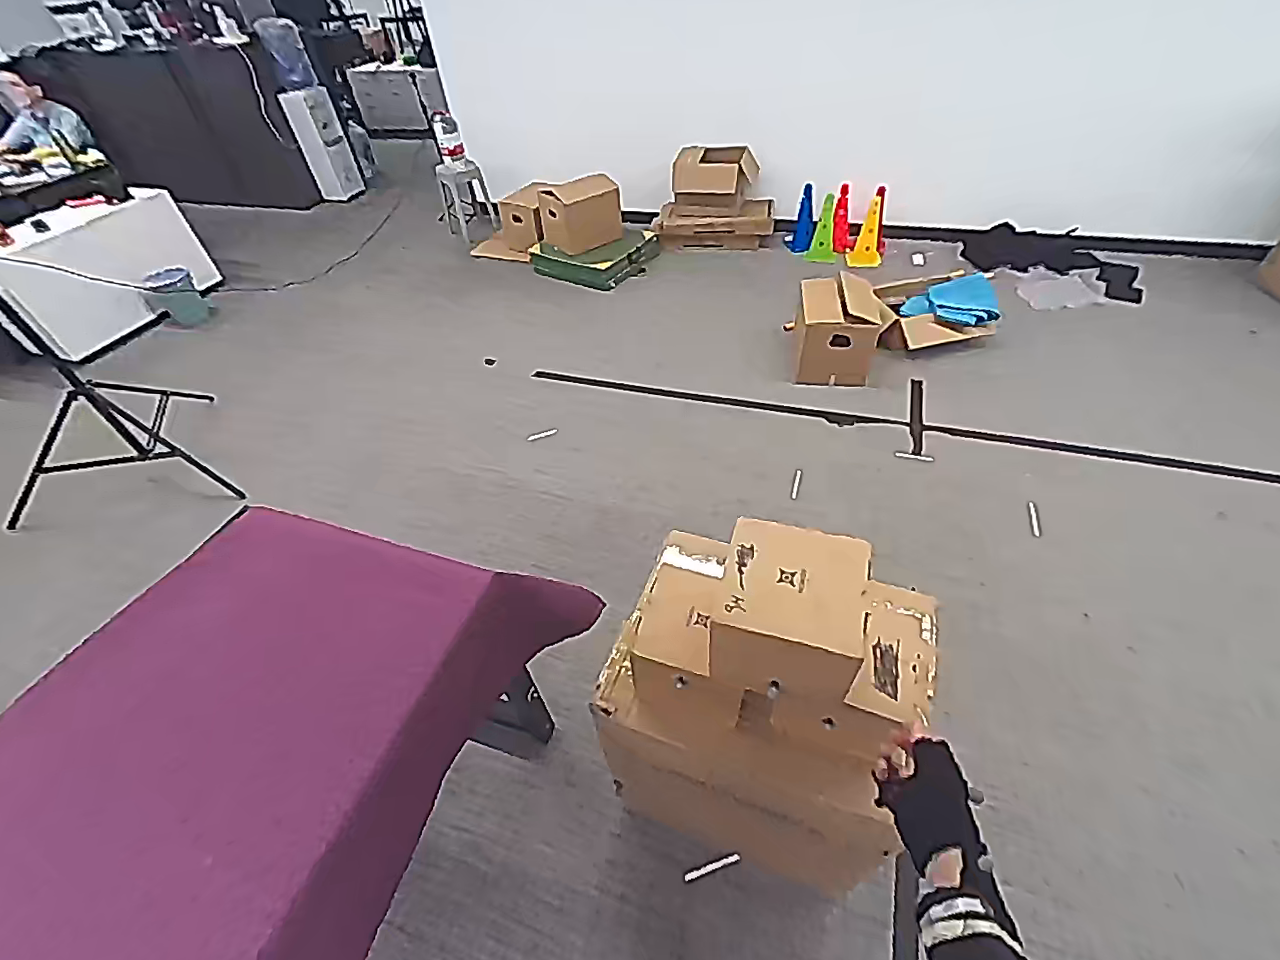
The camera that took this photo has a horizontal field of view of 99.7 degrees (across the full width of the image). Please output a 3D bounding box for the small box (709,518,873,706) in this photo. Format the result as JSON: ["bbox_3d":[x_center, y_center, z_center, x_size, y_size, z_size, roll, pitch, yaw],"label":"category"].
[{"bbox_3d":[0.197,0.179,0.724,0.179,0.176,0.168,11,49,16],"label":"small box"}]

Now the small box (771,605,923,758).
[{"bbox_3d":[0.309,0.297,0.824,0.179,0.176,0.168,13,49,20],"label":"small box"}]

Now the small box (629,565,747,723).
[{"bbox_3d":[0.095,0.268,0.876,0.179,0.176,0.168,13,49,15],"label":"small box"}]
